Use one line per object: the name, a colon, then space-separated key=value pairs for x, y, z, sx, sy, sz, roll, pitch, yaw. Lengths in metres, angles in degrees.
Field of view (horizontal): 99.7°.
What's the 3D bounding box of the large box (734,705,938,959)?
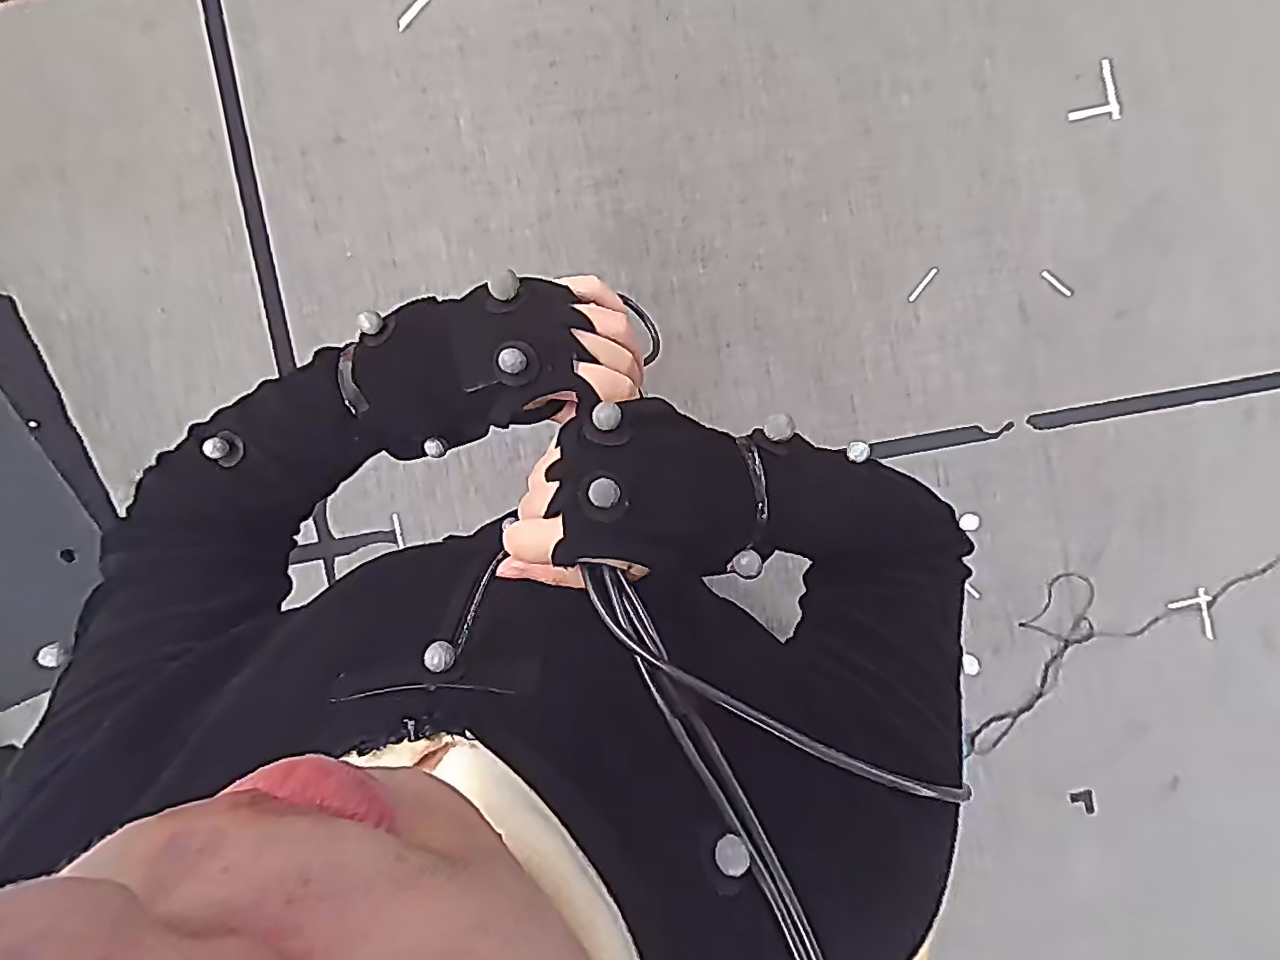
large box: x=0.411 y=0.770 z=1.214 sx=0.320 sy=0.320 sz=0.408 roll=6 pitch=92 yaw=-3
